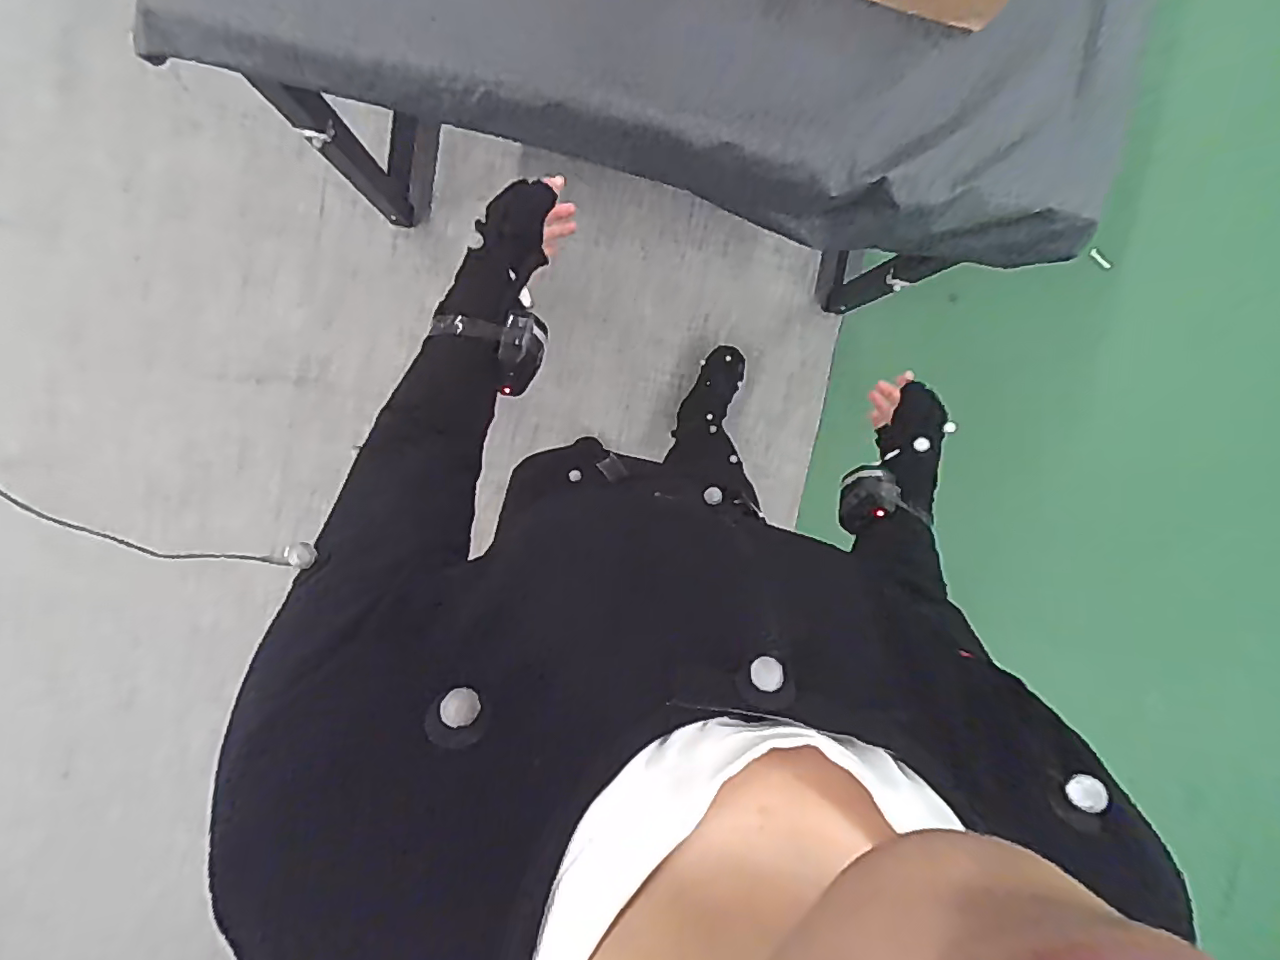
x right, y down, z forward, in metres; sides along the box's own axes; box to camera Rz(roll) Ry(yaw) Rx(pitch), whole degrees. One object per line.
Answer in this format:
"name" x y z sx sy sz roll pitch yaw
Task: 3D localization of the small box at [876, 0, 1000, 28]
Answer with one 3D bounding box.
"small box" 0.373 -0.664 0.606 0.179 0.176 0.168 10 96 -8
